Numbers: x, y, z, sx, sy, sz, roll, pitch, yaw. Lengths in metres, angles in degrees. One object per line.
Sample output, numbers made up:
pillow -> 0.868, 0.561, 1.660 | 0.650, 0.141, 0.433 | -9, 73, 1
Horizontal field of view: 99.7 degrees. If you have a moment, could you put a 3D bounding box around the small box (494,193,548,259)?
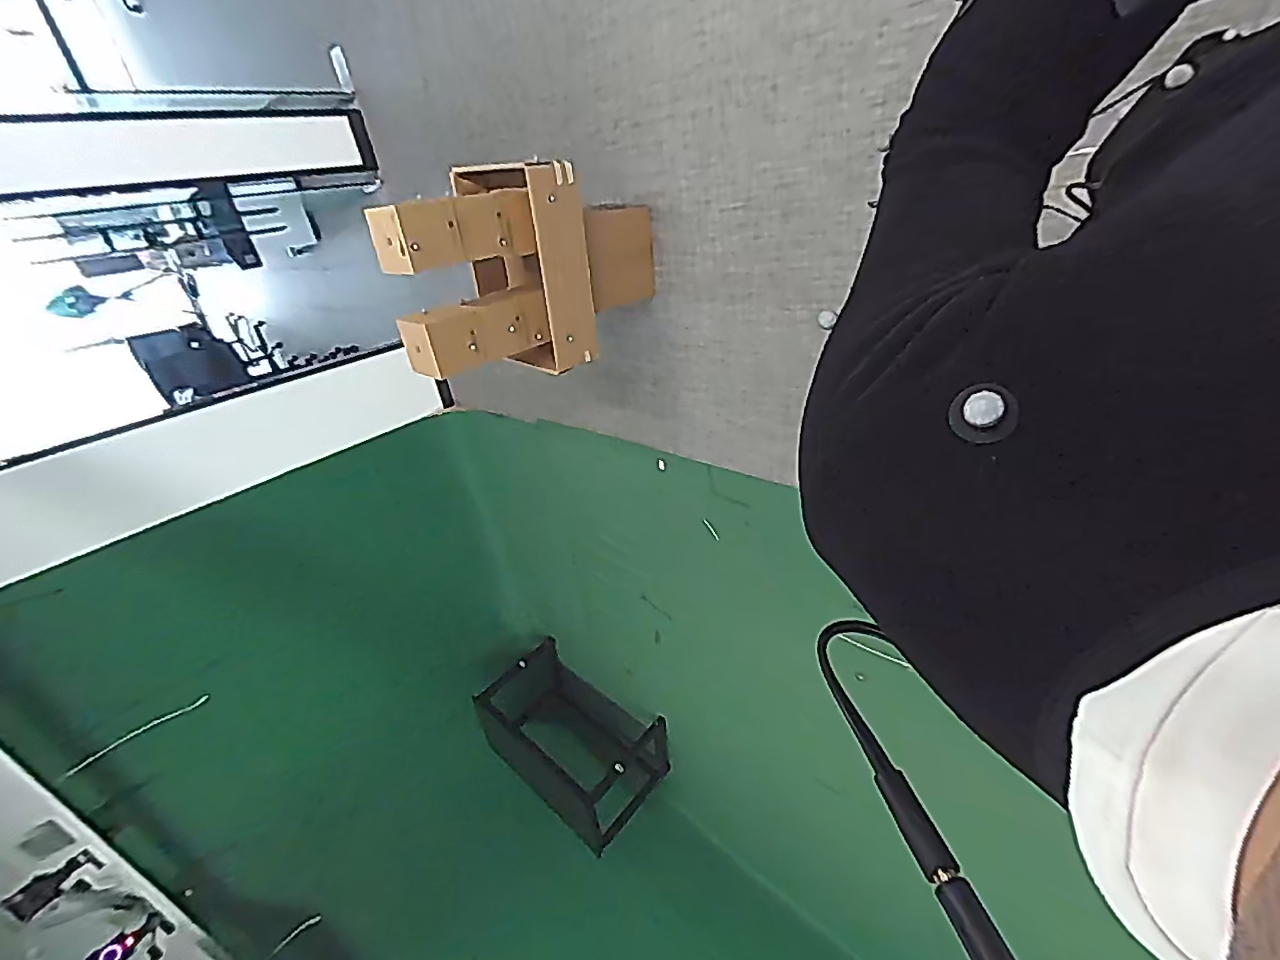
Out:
small box -> -0.413, -0.802, 1.699 | 0.179, 0.176, 0.168 | 23, 129, 34

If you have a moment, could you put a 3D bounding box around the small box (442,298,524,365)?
small box -> -0.502, -0.484, 1.740 | 0.179, 0.176, 0.168 | 19, 128, 38

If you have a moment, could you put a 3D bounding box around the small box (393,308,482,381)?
small box -> -0.608, -0.416, 1.636 | 0.179, 0.176, 0.168 | 20, 129, 37

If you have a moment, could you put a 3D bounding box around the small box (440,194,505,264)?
small box -> -0.516, -0.738, 1.588 | 0.179, 0.176, 0.168 | 19, 127, 38

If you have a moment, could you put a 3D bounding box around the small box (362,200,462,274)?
small box -> -0.620, -0.667, 1.482 | 0.179, 0.176, 0.168 | 19, 128, 38
